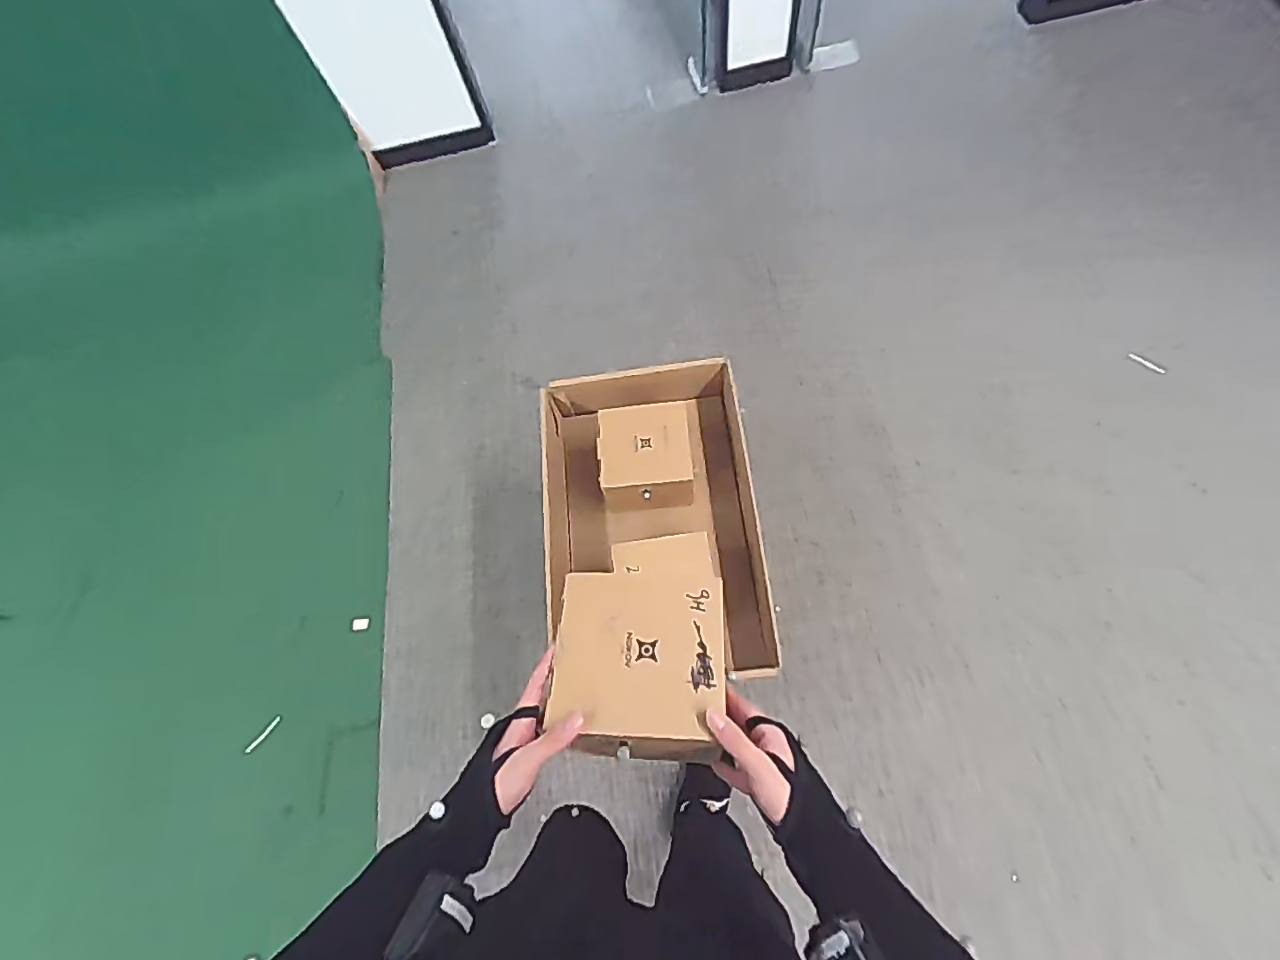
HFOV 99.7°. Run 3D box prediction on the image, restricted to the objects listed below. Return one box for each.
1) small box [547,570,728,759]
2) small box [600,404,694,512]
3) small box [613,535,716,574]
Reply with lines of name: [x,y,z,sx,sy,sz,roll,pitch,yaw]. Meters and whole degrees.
small box: [0.008,0.215,0.618,0.179,0.176,0.168,1,56,5]
small box: [0.018,-0.038,1.098,0.179,0.176,0.168,-4,70,4]
small box: [0.053,0.208,0.999,0.179,0.176,0.168,-8,68,4]
